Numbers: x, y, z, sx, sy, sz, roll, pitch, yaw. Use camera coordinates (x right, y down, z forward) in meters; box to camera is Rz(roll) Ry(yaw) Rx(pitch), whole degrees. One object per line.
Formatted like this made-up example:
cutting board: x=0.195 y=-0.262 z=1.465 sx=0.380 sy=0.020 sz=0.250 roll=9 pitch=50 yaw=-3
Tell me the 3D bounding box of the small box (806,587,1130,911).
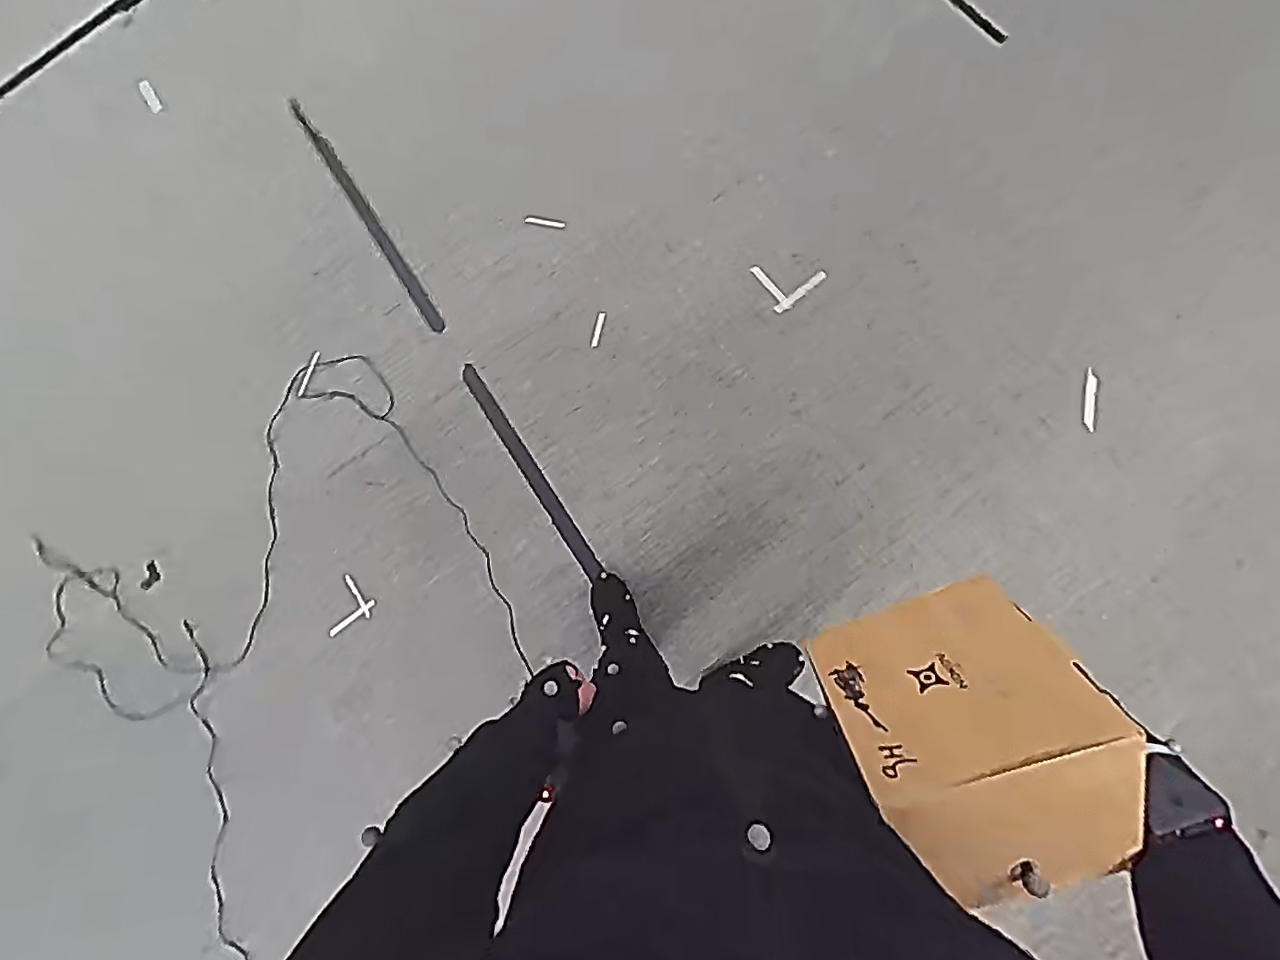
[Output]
small box: x=0.273 y=0.231 z=0.476 sx=0.179 sy=0.168 sz=0.176 roll=-22 pitch=115 yaw=7
